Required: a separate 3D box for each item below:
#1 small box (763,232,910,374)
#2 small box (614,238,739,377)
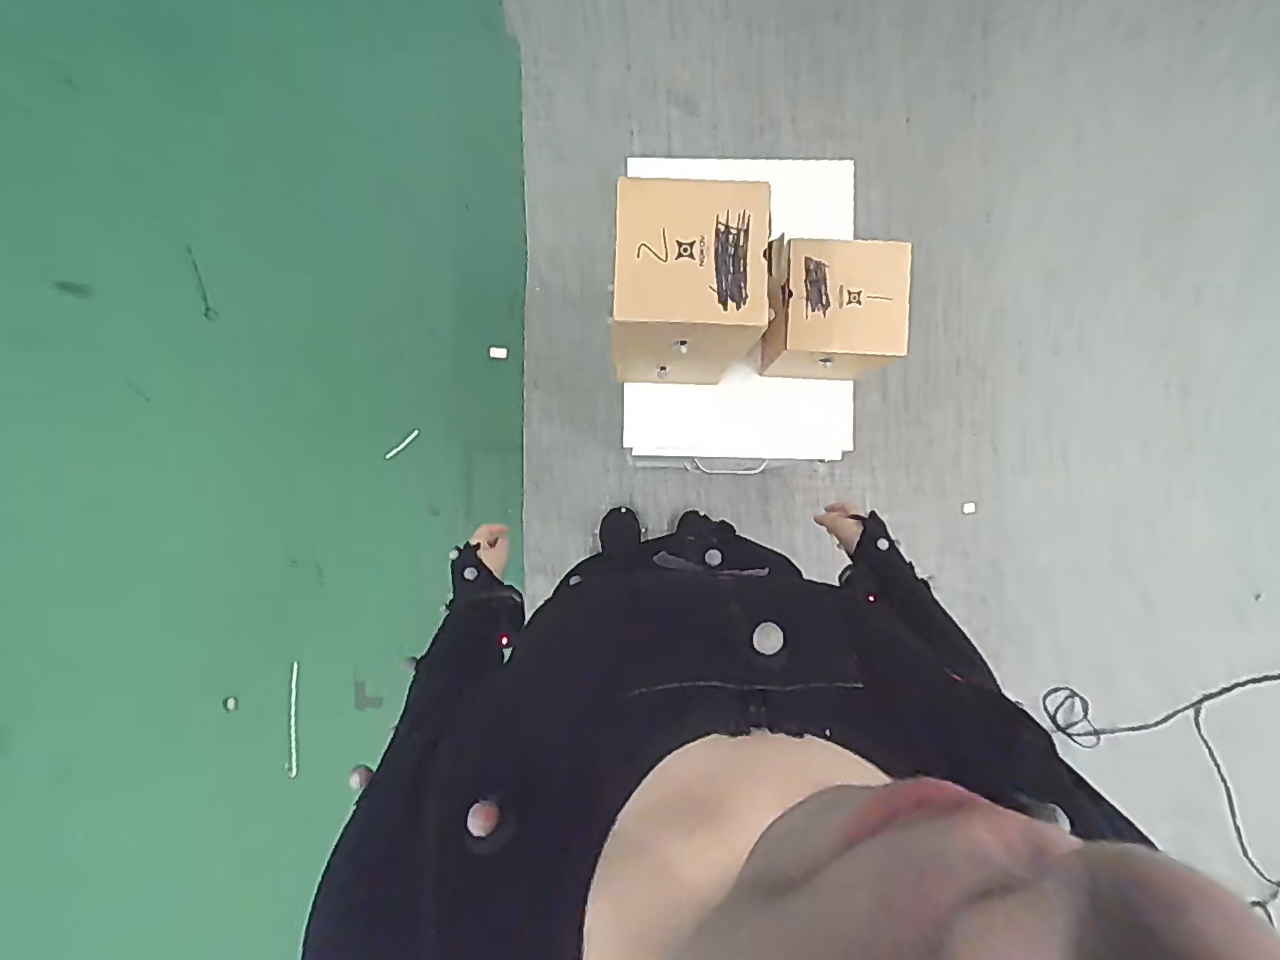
[{"bbox_3d":[0.297,-0.268,0.851,0.179,0.176,0.168,3,89,0],"label":"small box"},{"bbox_3d":[0.052,-0.260,0.850,0.179,0.176,0.168,1,89,-1],"label":"small box"}]
